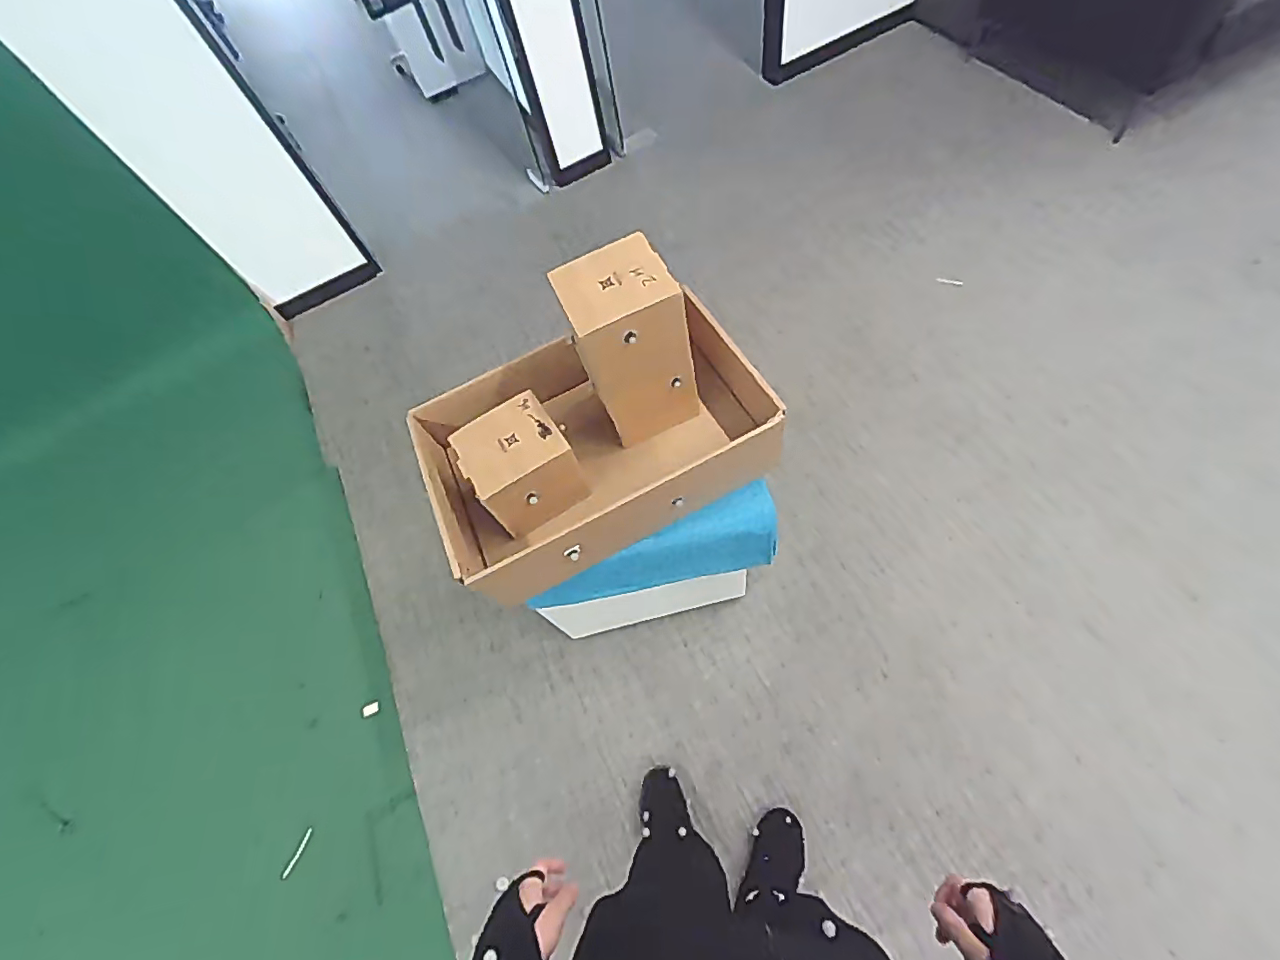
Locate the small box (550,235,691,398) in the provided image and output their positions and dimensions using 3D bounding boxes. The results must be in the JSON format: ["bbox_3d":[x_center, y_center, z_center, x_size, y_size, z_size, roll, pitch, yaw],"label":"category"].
[{"bbox_3d":[-0.027,-0.269,0.919,0.179,0.176,0.168,-24,61,-3],"label":"small box"}]
